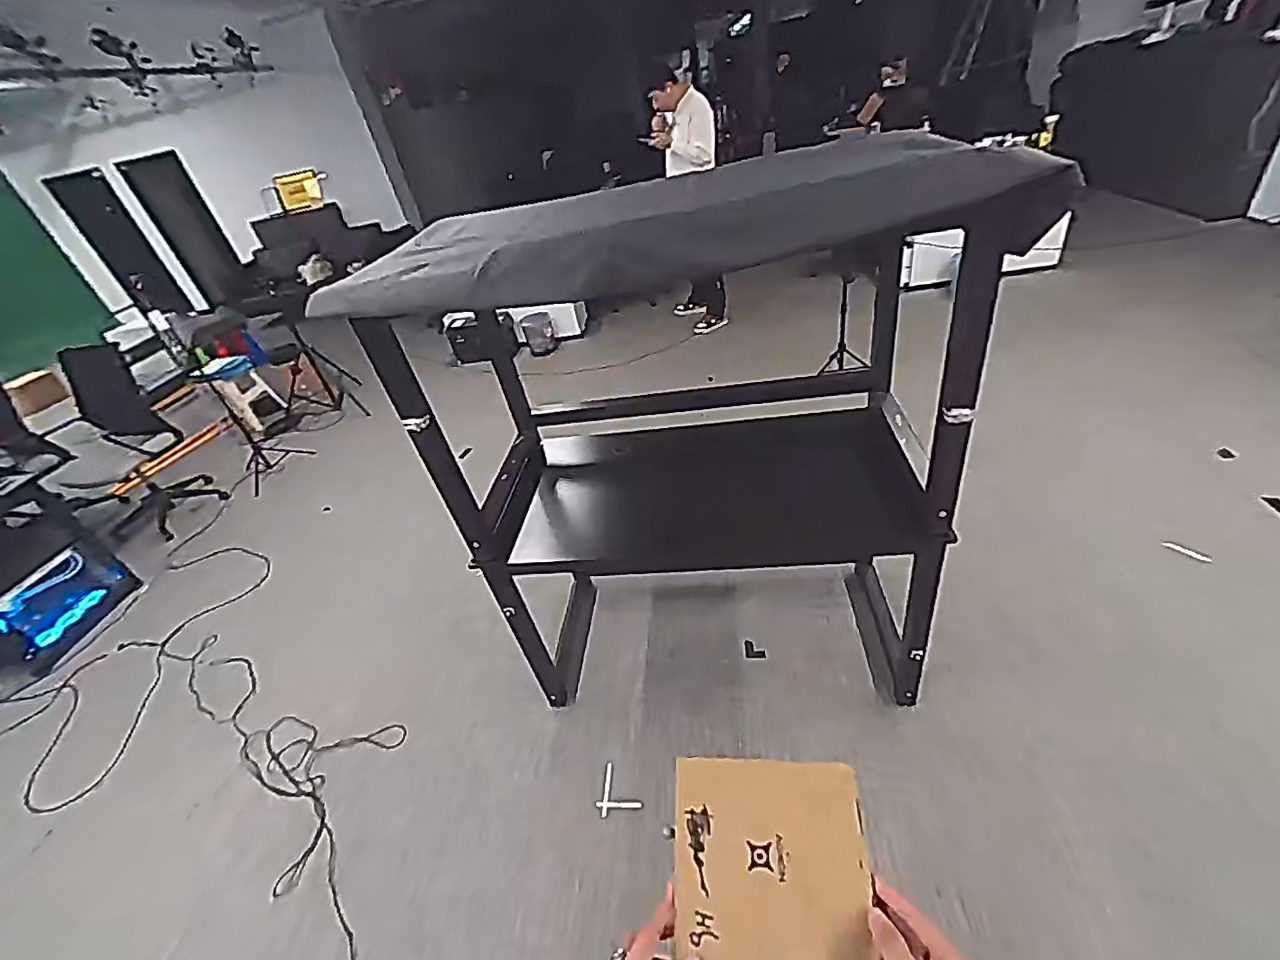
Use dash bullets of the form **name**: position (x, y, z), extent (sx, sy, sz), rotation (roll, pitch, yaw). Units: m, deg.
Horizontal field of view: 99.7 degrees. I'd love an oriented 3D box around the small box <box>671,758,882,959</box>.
- **small box**: position (0.124, 0.397, 0.552), extent (0.179, 0.176, 0.168), rotation (-1, 50, 7)
